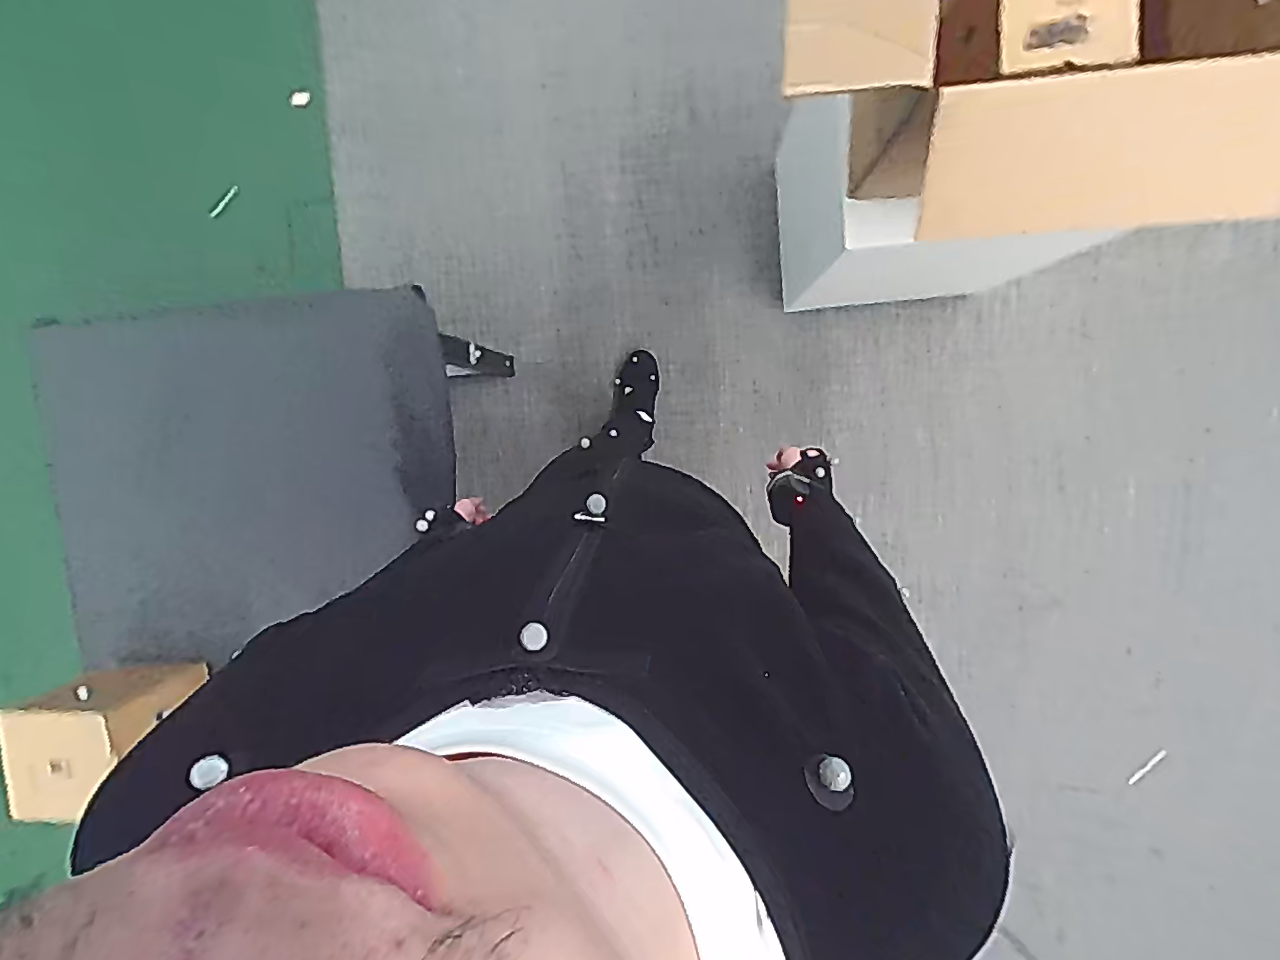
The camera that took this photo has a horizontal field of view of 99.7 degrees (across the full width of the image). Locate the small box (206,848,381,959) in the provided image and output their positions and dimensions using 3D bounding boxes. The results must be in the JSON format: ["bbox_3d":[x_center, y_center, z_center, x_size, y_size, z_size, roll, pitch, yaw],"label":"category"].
[{"bbox_3d":[-0.542,0.732,0.873,0.179,0.176,0.168,-2,96,5],"label":"small box"}]

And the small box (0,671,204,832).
[{"bbox_3d":[-0.826,0.412,0.844,0.179,0.176,0.168,-2,95,5],"label":"small box"}]
